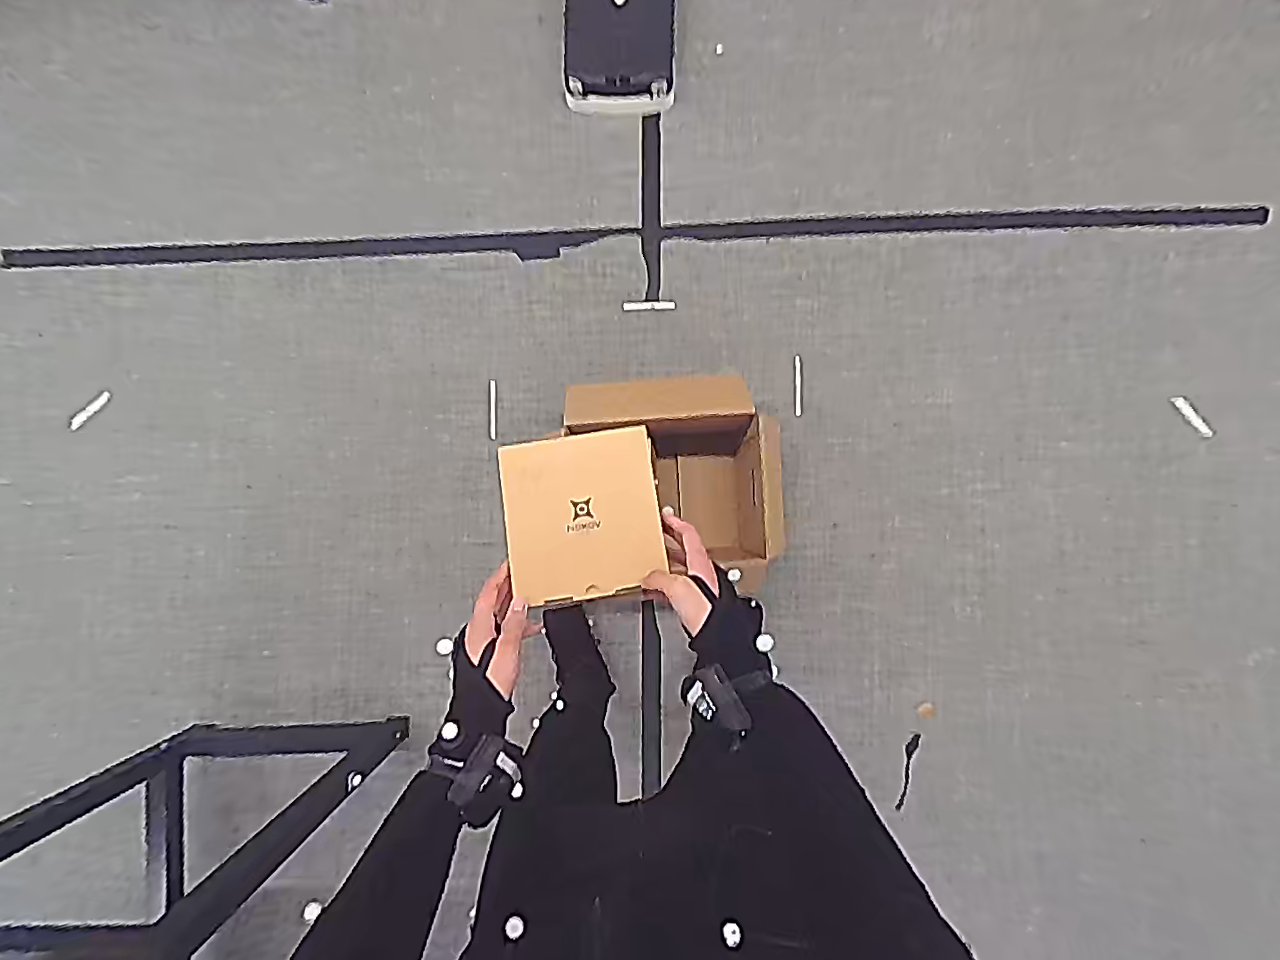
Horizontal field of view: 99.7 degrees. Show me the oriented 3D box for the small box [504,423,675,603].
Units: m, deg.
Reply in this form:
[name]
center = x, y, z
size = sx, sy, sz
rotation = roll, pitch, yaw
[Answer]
[small box]
center = -0.057, 0.049, 0.647
size = 0.168, 0.176, 0.179
rotation = -9, 78, -2
